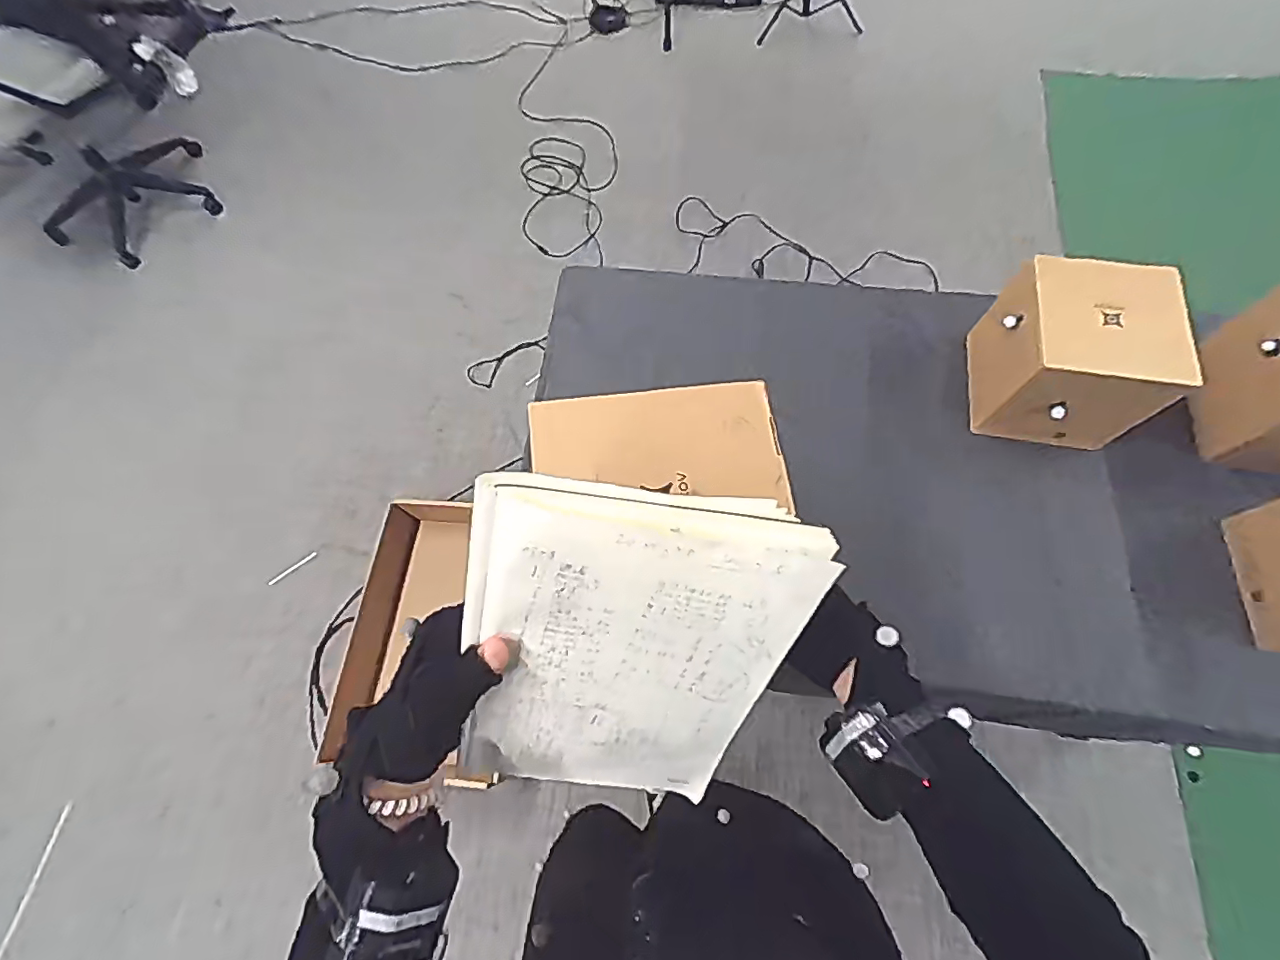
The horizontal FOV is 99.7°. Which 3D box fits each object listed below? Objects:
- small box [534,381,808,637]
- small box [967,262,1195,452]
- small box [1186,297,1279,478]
[{"bbox_3d":[0.013,0.035,0.446,0.179,0.176,0.168,-5,71,-4],"label":"small box"},{"bbox_3d":[0.557,-0.154,0.713,0.168,0.176,0.179,9,67,8],"label":"small box"},{"bbox_3d":[0.842,-0.115,0.675,0.168,0.176,0.179,9,68,8],"label":"small box"}]
